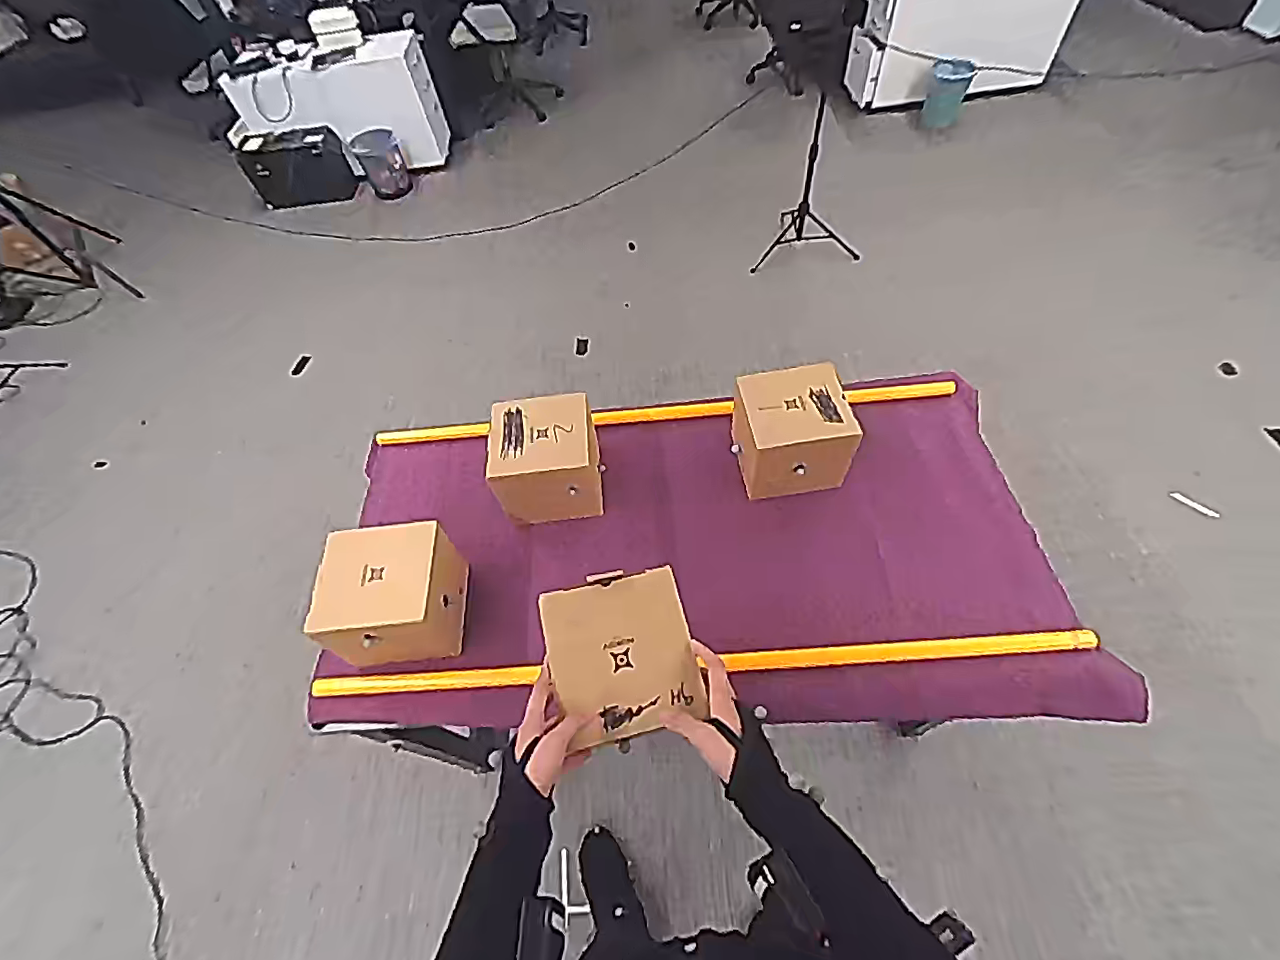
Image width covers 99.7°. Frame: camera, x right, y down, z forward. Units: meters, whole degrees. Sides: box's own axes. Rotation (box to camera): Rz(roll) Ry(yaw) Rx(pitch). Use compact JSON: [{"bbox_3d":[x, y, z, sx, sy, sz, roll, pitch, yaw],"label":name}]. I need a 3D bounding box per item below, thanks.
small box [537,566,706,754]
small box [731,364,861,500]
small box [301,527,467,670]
[{"bbox_3d":[-0.027,0.231,0.679,0.168,0.176,0.179,-12,63,-6],"label":"small box"},{"bbox_3d":[0.268,-0.082,0.977,0.179,0.176,0.168,-9,57,1],"label":"small box"},{"bbox_3d":[-0.392,0.193,0.866,0.179,0.176,0.168,-7,55,0],"label":"small box"}]
